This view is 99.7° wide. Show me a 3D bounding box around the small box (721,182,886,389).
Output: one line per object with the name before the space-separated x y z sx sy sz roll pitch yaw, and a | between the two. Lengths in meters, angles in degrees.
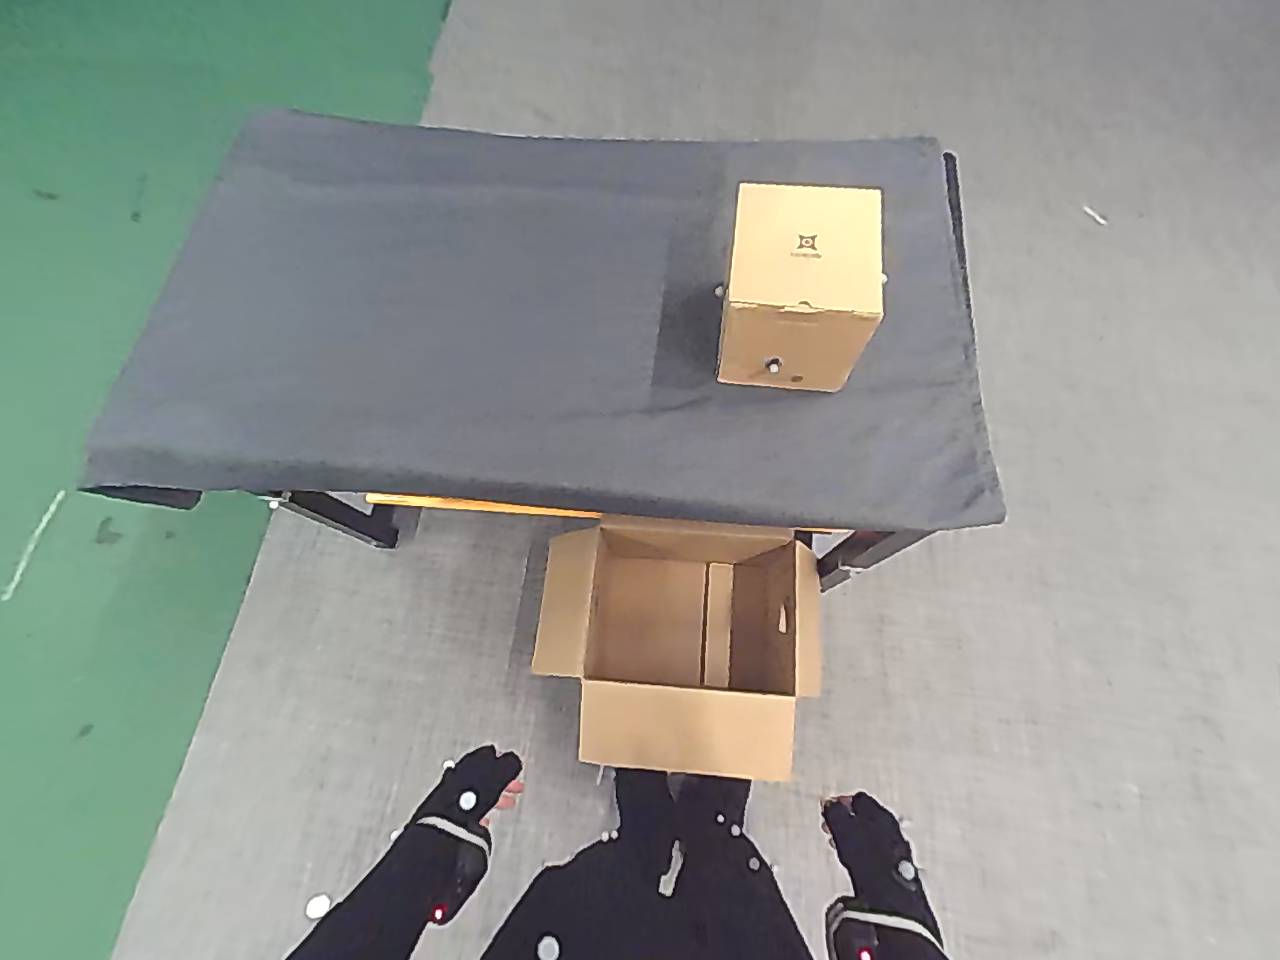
small box | 0.195 -0.237 0.681 0.168 0.176 0.179 6 71 6
